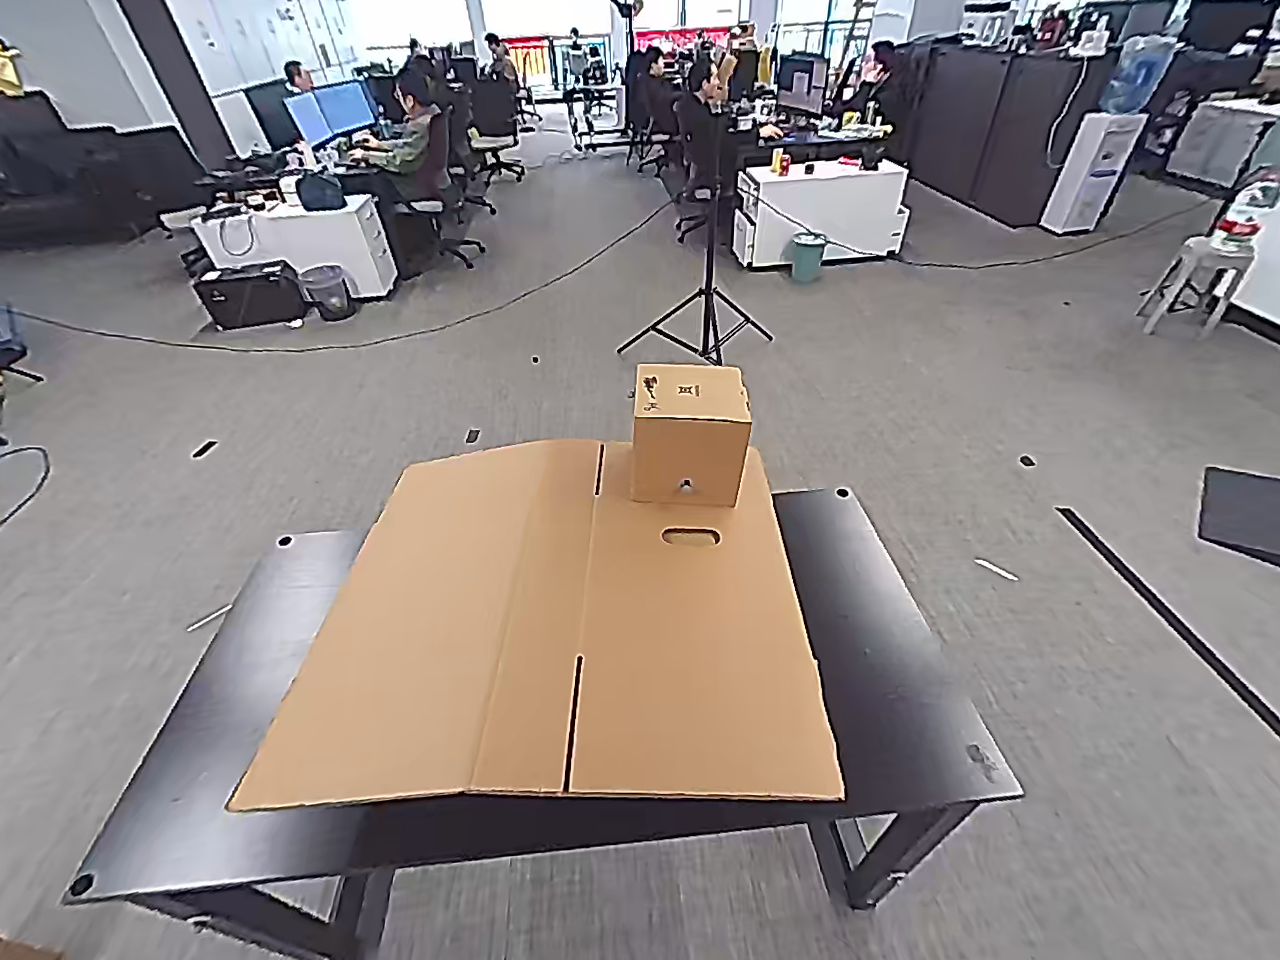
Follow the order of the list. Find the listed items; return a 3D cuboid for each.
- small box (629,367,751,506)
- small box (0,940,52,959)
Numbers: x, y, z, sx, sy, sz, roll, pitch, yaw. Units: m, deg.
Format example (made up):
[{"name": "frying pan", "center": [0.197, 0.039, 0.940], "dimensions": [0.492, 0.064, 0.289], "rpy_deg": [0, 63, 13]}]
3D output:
[{"name": "small box", "center": [0.076, -0.072, 0.906], "dimensions": [0.179, 0.176, 0.168], "rpy_deg": [3, 39, 0]}, {"name": "small box", "center": [-1.339, 1.053, 1.069], "dimensions": [0.168, 0.176, 0.179], "rpy_deg": [-8, 42, -5]}]
